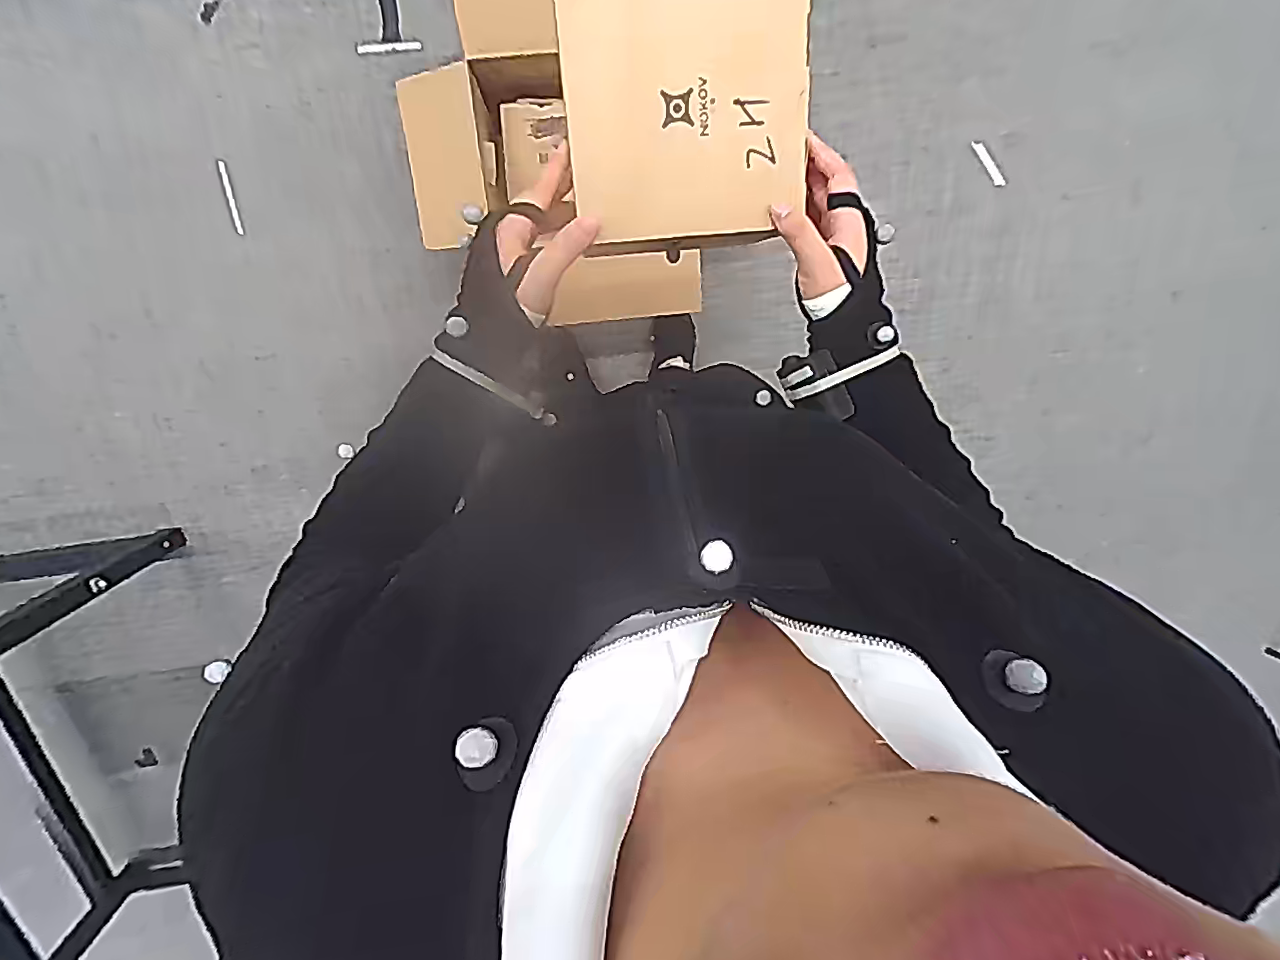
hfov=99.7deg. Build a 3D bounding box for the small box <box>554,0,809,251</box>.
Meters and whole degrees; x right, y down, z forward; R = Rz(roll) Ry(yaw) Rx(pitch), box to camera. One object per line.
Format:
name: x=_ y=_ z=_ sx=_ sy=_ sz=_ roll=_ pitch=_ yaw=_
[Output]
small box: x=0.029 y=-0.294 z=0.463 sx=0.179 sy=0.176 sz=0.168 roll=-6 pitch=110 yaw=-3
